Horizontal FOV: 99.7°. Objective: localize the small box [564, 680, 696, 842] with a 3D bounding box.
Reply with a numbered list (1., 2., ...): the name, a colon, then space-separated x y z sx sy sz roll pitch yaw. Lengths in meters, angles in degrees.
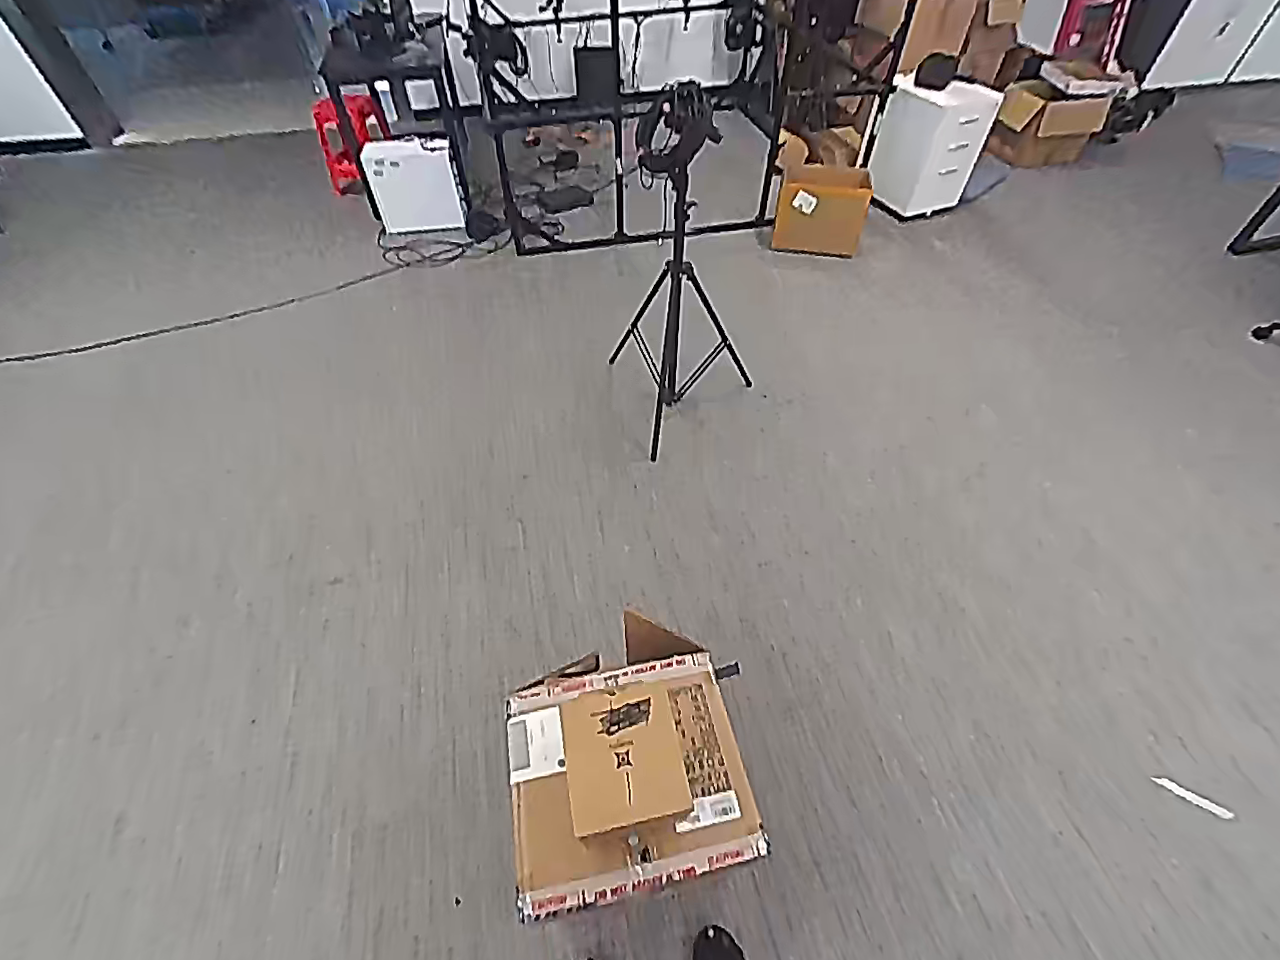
1. small box: -0.020 0.435 0.833 0.168 0.176 0.179 -10 54 -7
